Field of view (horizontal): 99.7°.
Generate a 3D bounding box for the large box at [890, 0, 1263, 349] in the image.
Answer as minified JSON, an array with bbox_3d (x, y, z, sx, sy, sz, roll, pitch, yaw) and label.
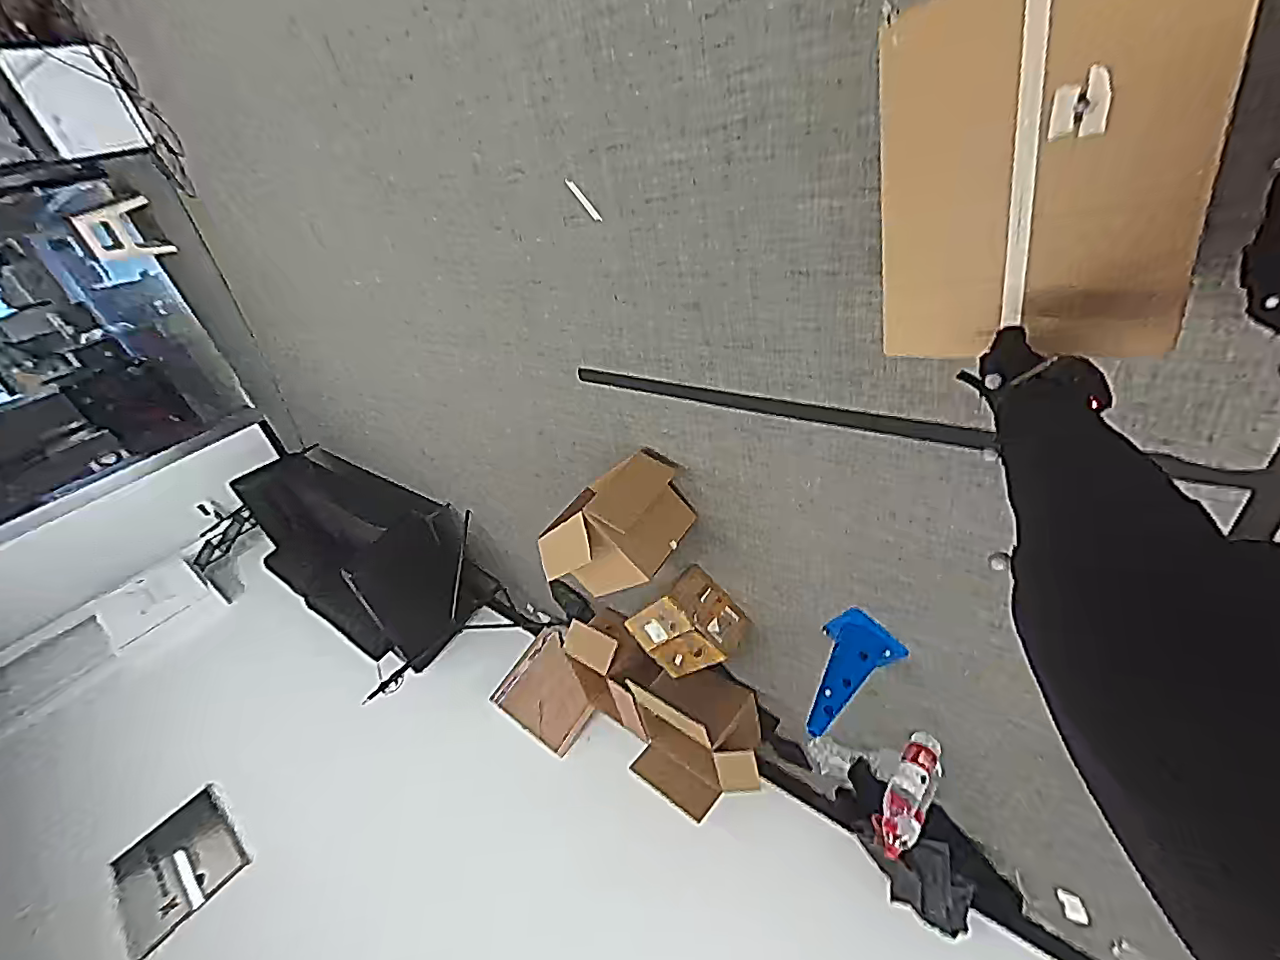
[{"bbox_3d":[0.549,-0.414,0.705,0.320,0.320,0.408,12,127,42],"label":"large box"}]
